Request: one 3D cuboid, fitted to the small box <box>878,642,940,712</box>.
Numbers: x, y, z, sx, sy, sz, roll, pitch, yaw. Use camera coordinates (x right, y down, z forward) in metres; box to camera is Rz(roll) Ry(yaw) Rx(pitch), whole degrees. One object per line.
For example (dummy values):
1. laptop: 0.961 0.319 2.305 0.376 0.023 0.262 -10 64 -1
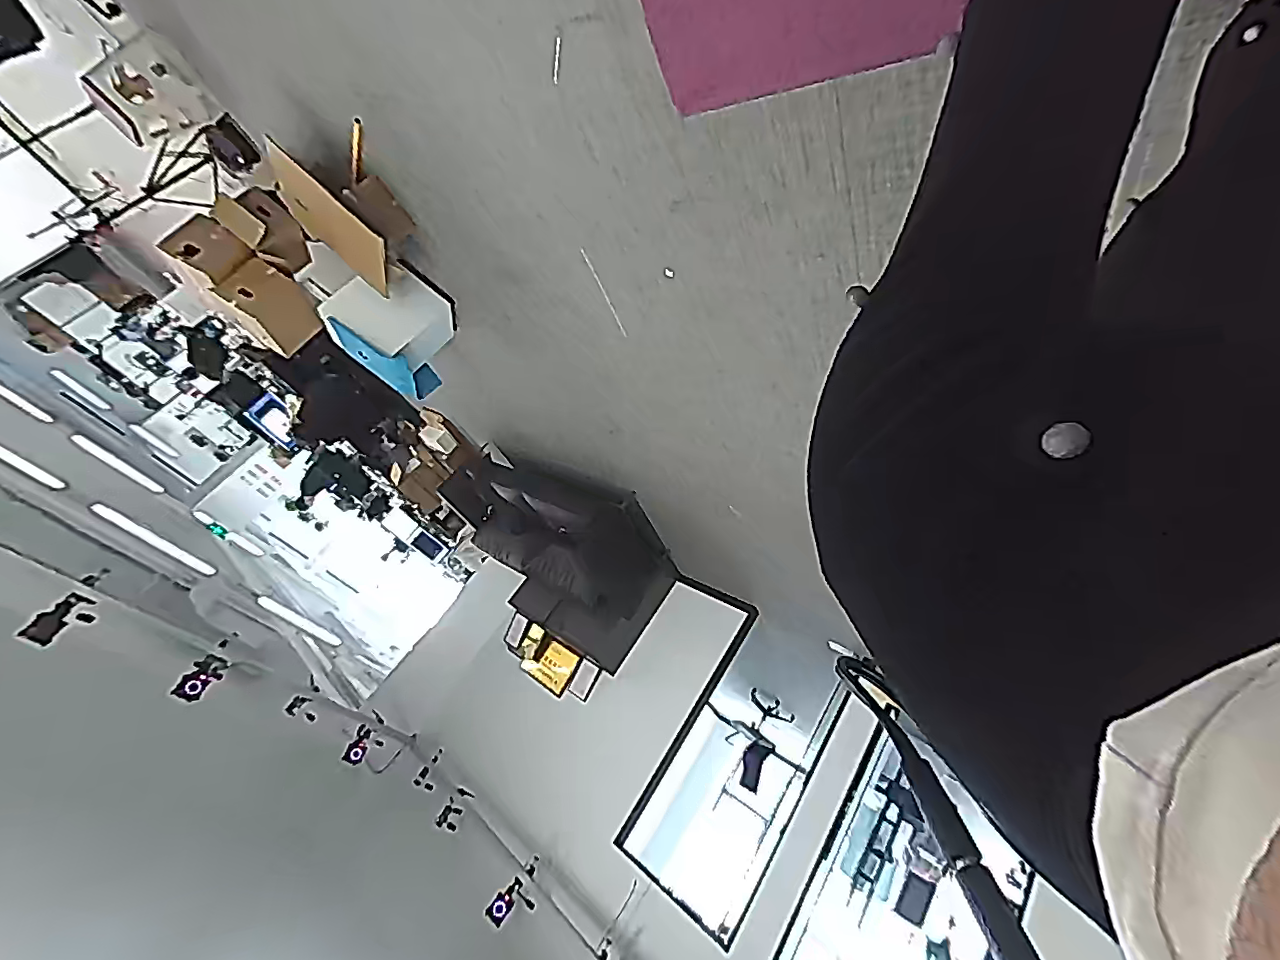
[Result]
1. small box: 1.039 0.757 2.089 0.168 0.176 0.179 23 154 35
